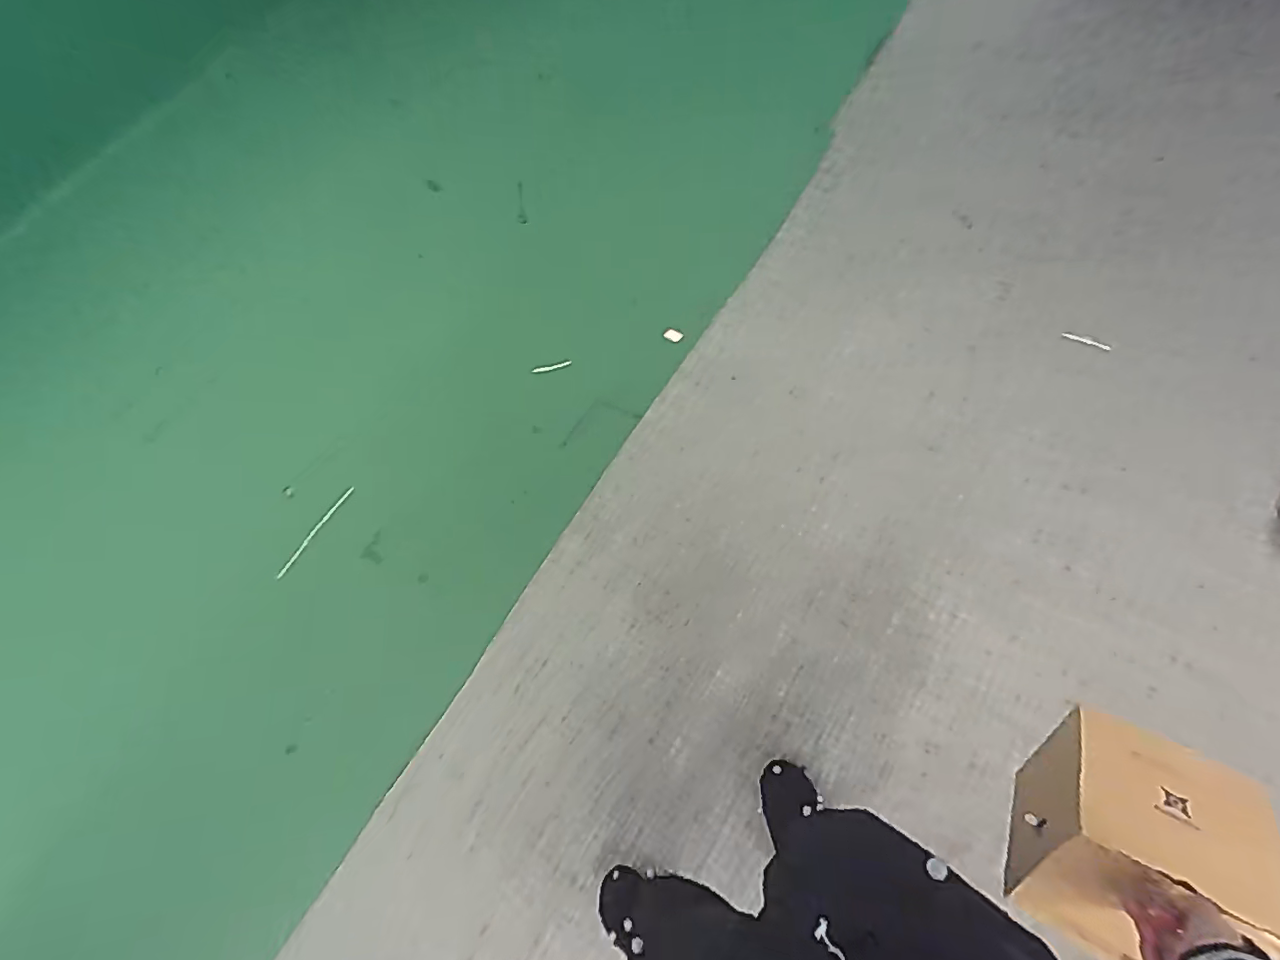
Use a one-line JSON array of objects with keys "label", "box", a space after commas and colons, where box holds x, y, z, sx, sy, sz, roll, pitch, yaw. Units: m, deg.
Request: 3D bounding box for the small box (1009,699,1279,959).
[{"label": "small box", "box": [0.516, 0.381, 0.564, 0.168, 0.176, 0.179, 25, 38, 26]}]
